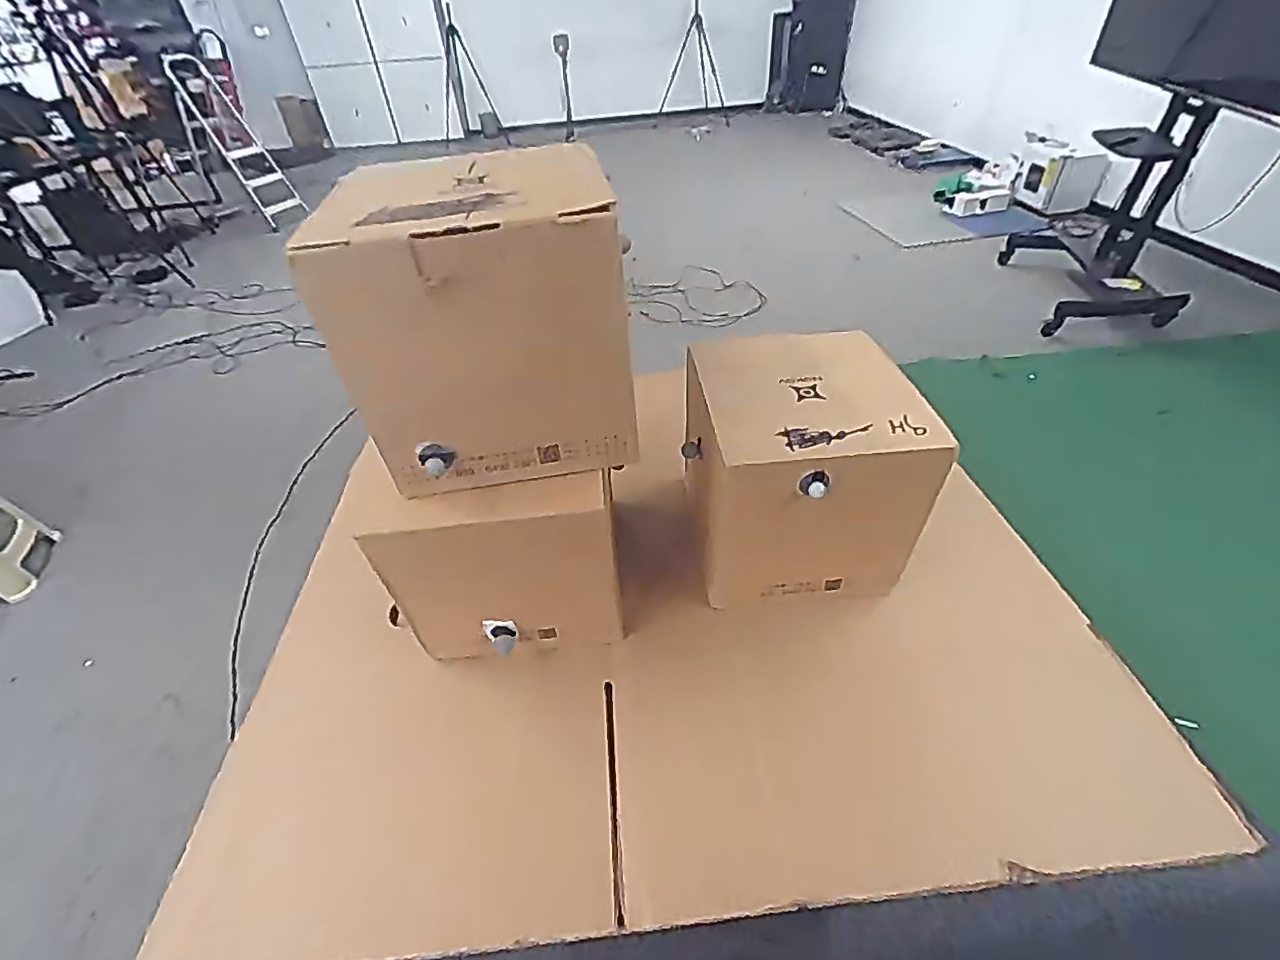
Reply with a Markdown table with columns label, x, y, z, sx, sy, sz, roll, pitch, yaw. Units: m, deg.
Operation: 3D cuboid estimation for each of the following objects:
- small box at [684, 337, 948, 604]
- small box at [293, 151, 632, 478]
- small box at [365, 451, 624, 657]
| label | x | y | z | sx | sy | sz | roll | pitch | yaw |
| --- | --- | --- | --- | --- | --- | --- | --- | --- | --- |
| small box | 0.131 | -0.012 | 0.489 | 0.168 | 0.176 | 0.179 | -4 | 42 | -2 |
| small box | -0.101 | -0.115 | 0.390 | 0.168 | 0.176 | 0.179 | -9 | 41 | -4 |
| small box | -0.106 | 0.029 | 0.476 | 0.168 | 0.176 | 0.179 | -7 | 44 | -1 |
